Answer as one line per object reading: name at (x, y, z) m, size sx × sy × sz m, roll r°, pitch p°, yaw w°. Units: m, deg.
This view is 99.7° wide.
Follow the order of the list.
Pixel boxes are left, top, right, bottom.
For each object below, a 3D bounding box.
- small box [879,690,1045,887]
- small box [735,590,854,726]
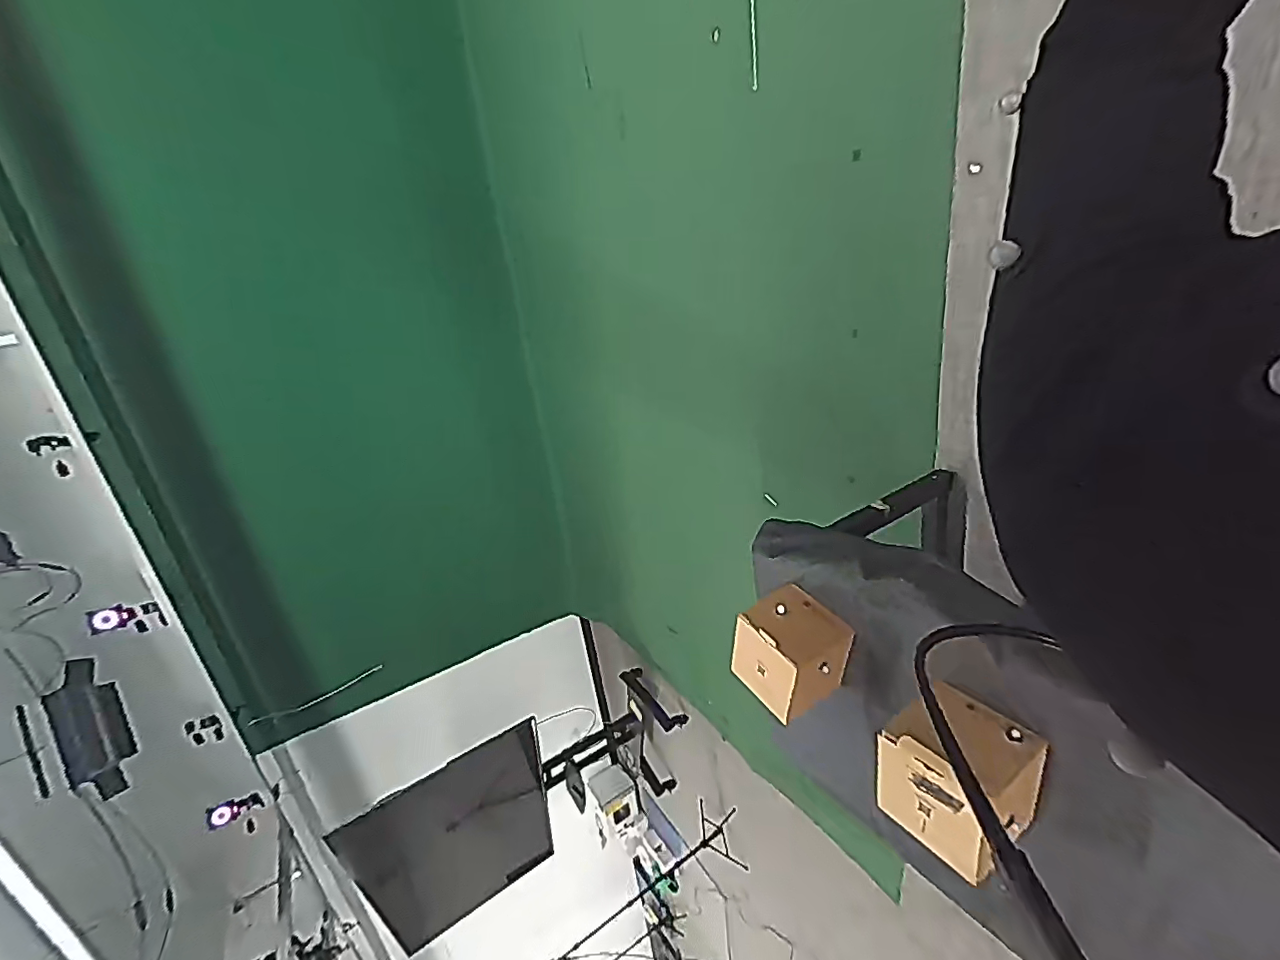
small box at (0.508, 0.473, 0.859) m, size 0.168 × 0.176 × 0.179 m, roll 25°, pitch 130°, yaw 54°
small box at (0.321, 0.363, 1.131) m, size 0.168 × 0.176 × 0.179 m, roll 39°, pitch 141°, yaw 46°
